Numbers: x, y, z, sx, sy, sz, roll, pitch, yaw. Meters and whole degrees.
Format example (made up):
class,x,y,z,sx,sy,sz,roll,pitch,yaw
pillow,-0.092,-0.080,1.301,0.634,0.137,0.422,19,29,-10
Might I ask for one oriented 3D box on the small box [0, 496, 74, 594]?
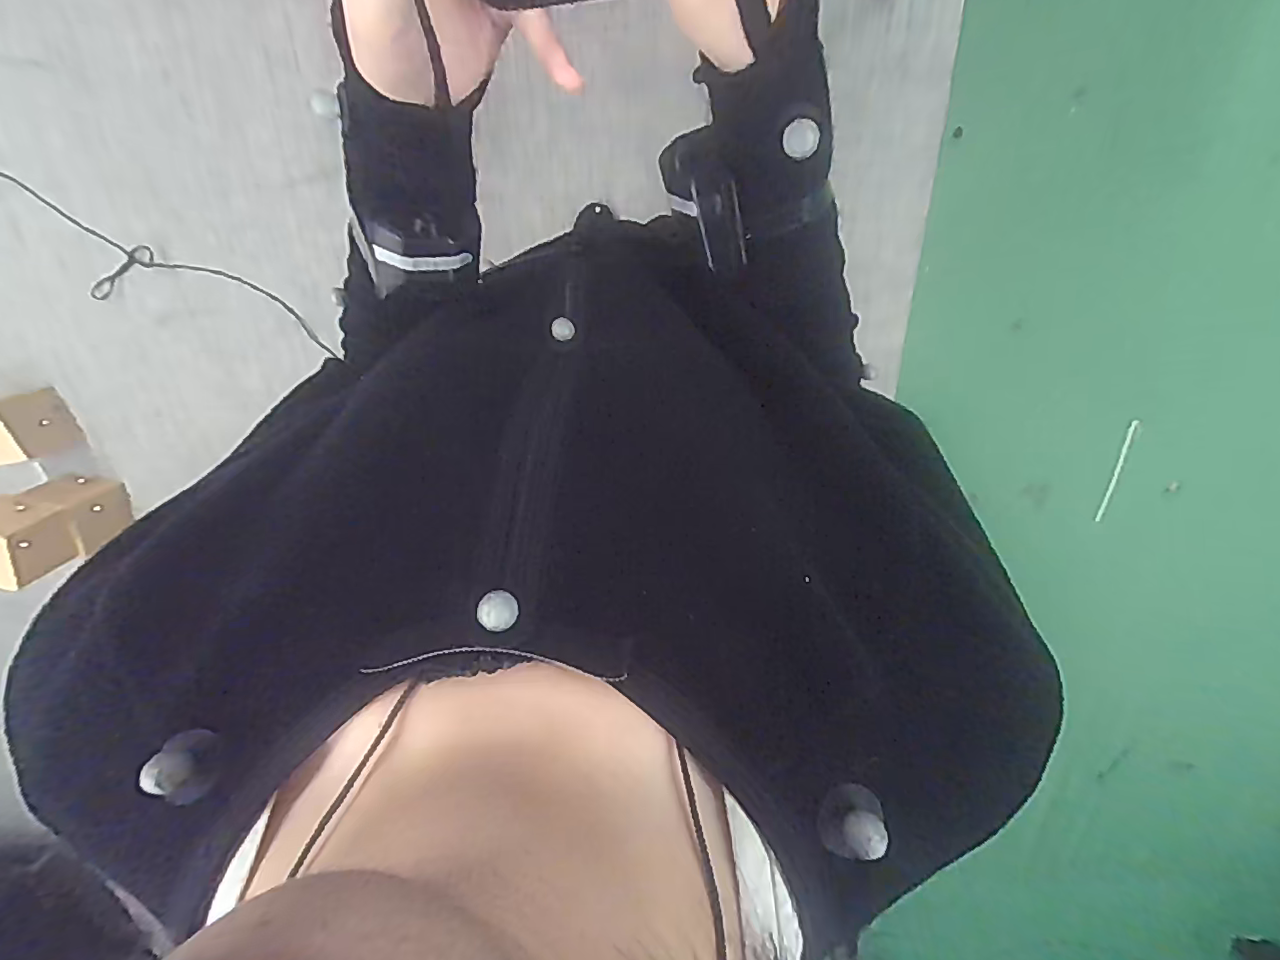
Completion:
class,x,y,z,sx,sy,sz,roll,pitch,yaw
small box,-1.674,0.169,1.439,0.168,0.176,0.179,15,113,-4

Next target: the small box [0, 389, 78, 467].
class,x,y,z,sx,sy,sz,roll,pitch,yaw
small box,-1.708,-0.141,1.472,0.179,0.176,0.168,-8,114,5
